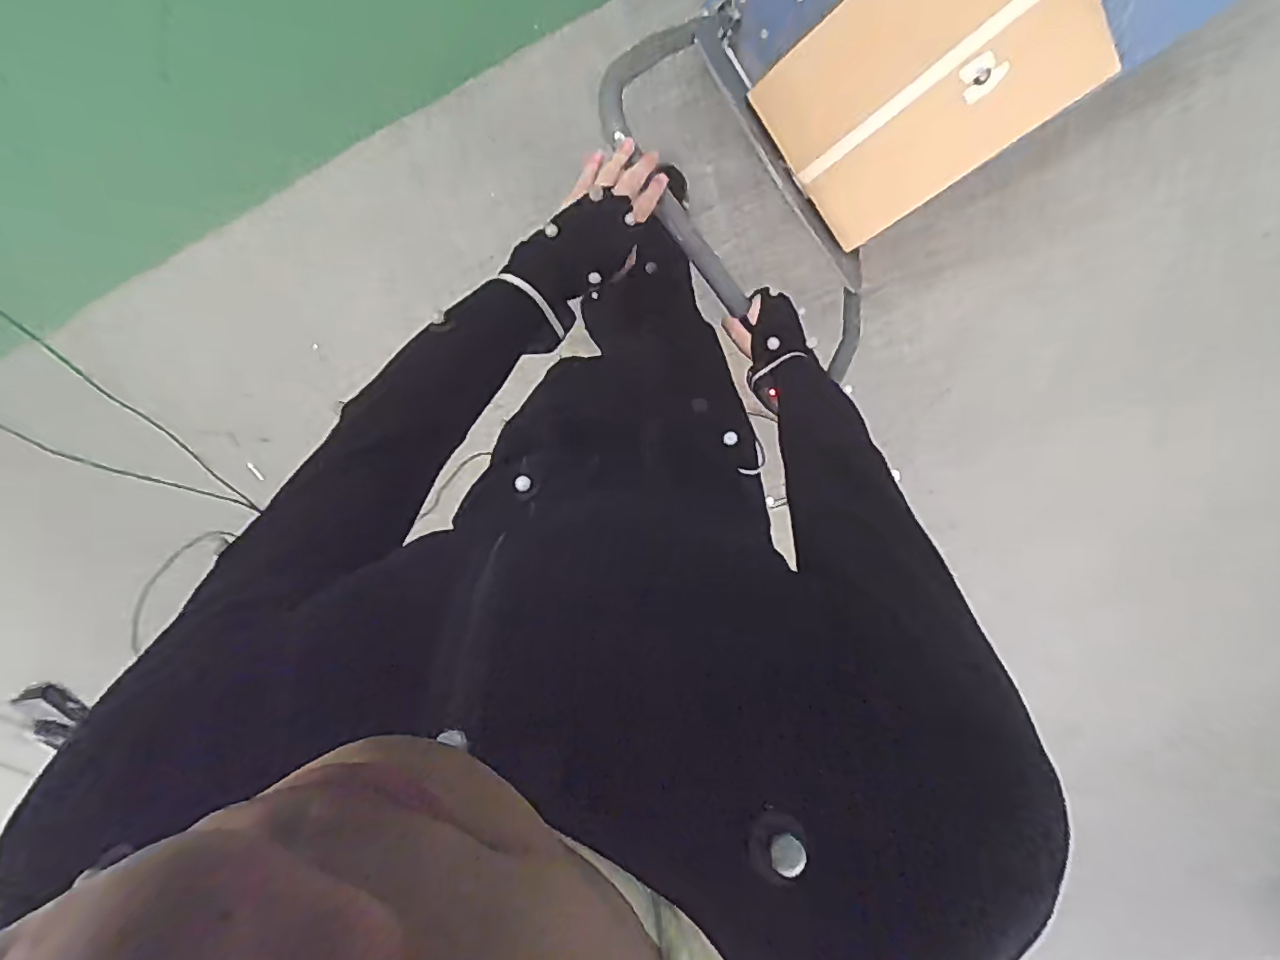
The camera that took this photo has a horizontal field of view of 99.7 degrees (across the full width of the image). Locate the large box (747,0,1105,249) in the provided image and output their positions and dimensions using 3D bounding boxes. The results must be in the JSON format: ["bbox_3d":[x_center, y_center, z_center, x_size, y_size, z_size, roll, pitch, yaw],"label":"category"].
[{"bbox_3d":[0.442,-0.685,0.920,0.408,0.320,0.320,-28,117,34],"label":"large box"}]
